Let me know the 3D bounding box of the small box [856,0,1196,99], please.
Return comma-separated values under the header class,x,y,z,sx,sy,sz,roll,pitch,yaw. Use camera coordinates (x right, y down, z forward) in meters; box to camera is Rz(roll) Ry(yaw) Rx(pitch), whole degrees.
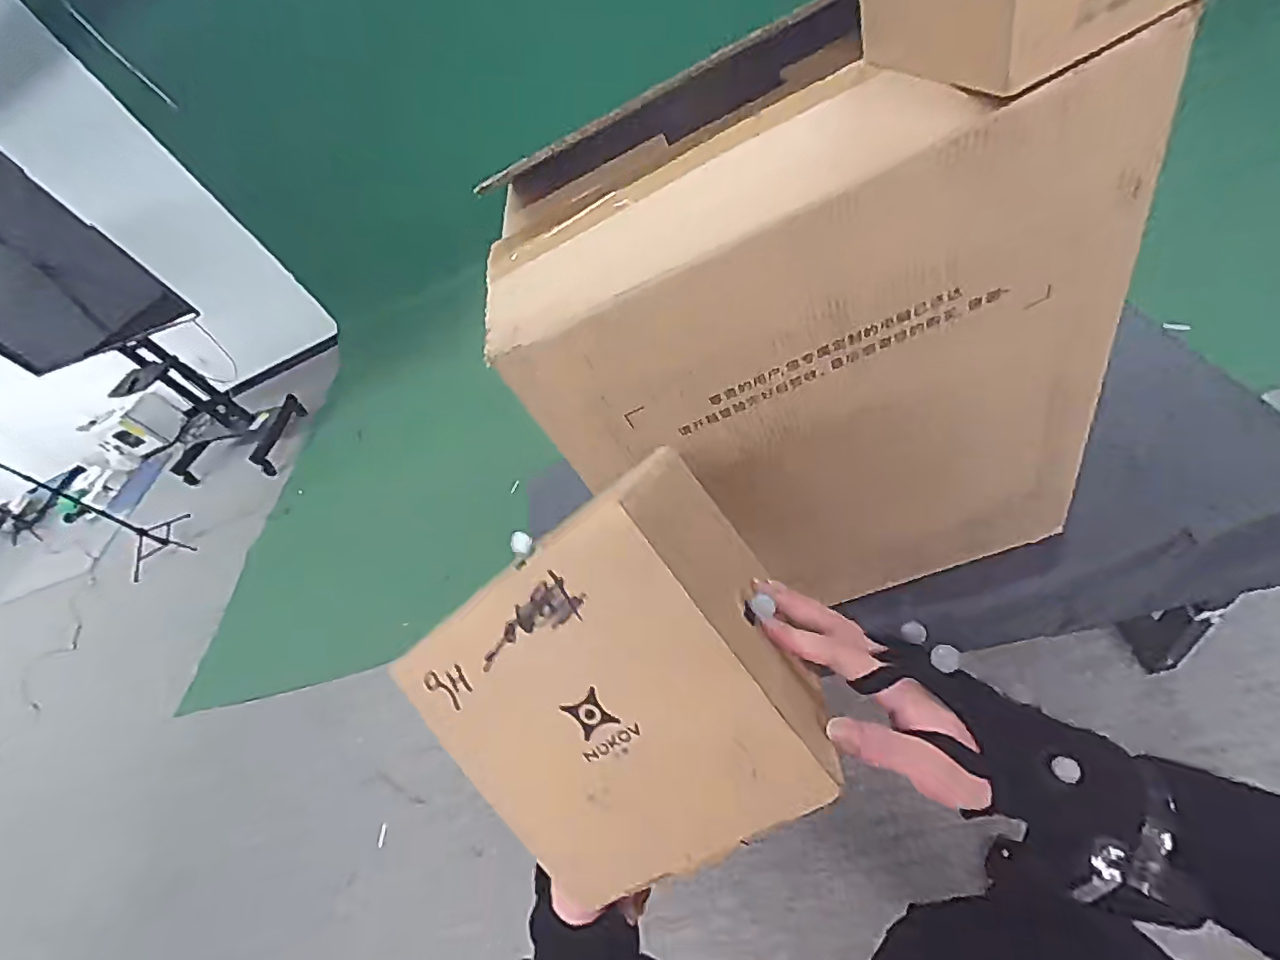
class,x,y,z,sx,sy,sz,roll,pitch,yaw
small box,0.251,-0.377,0.340,0.168,0.176,0.179,-26,44,6
